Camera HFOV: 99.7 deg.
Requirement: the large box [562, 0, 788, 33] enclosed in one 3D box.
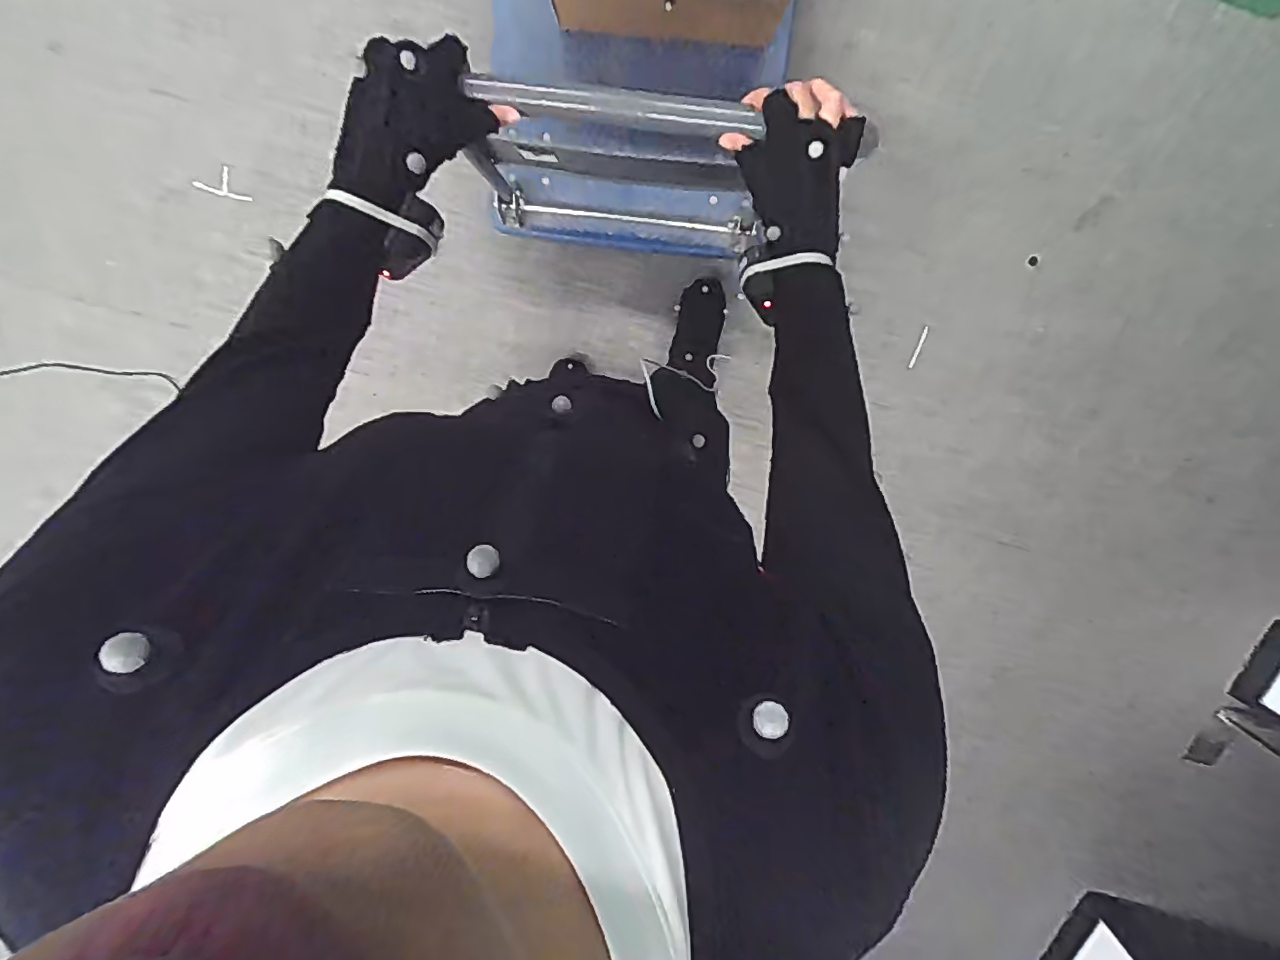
[{"bbox_3d":[0.065,-0.969,0.859,0.408,0.320,0.320,2,107,-2],"label":"large box"}]
